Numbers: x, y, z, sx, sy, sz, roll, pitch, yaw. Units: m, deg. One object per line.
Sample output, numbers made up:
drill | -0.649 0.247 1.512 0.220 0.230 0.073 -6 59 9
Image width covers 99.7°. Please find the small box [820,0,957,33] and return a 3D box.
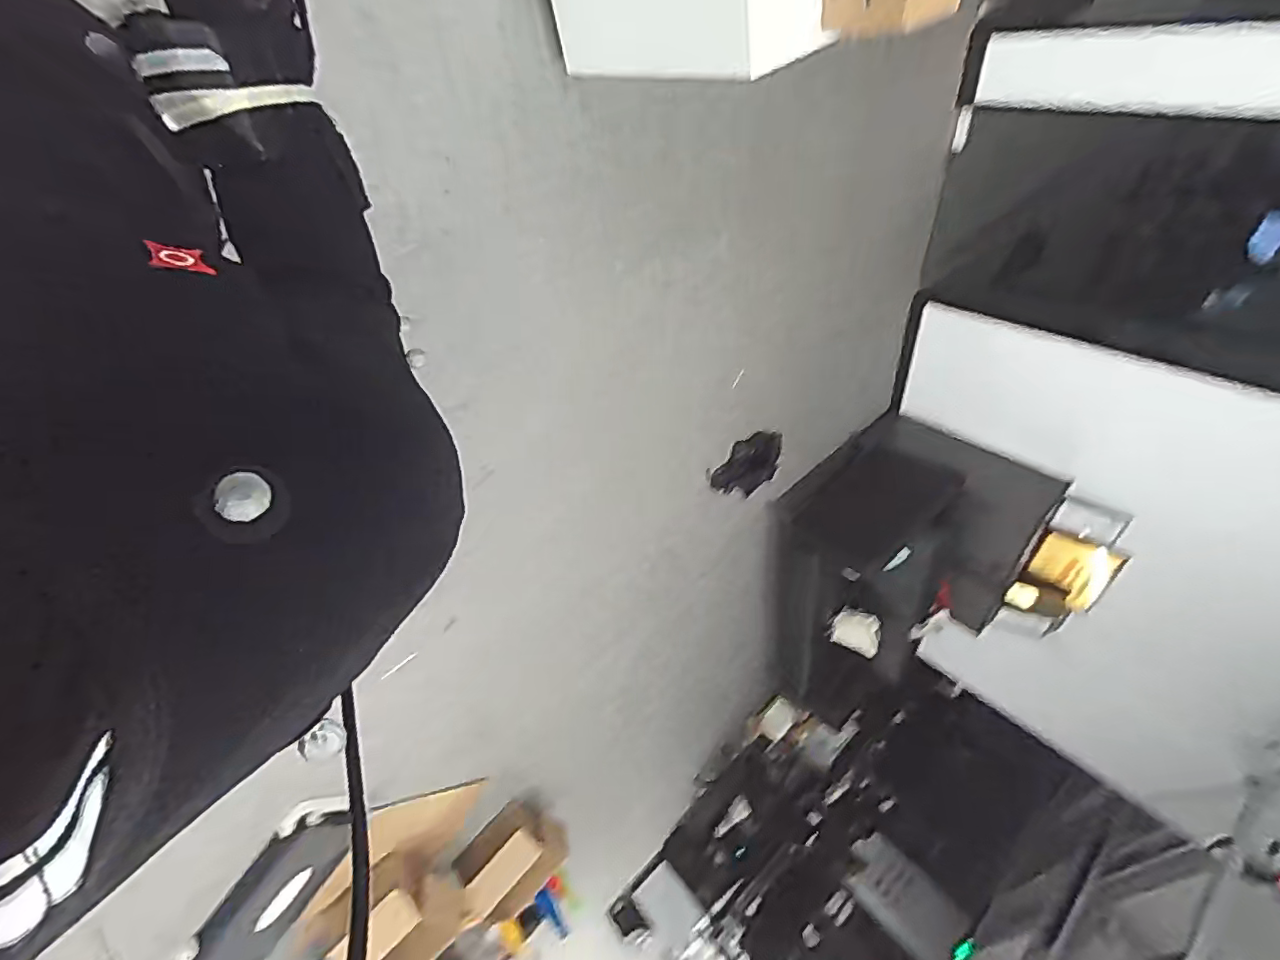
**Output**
small box | 0.427 -0.879 0.913 0.179 0.176 0.168 -37 140 -23
